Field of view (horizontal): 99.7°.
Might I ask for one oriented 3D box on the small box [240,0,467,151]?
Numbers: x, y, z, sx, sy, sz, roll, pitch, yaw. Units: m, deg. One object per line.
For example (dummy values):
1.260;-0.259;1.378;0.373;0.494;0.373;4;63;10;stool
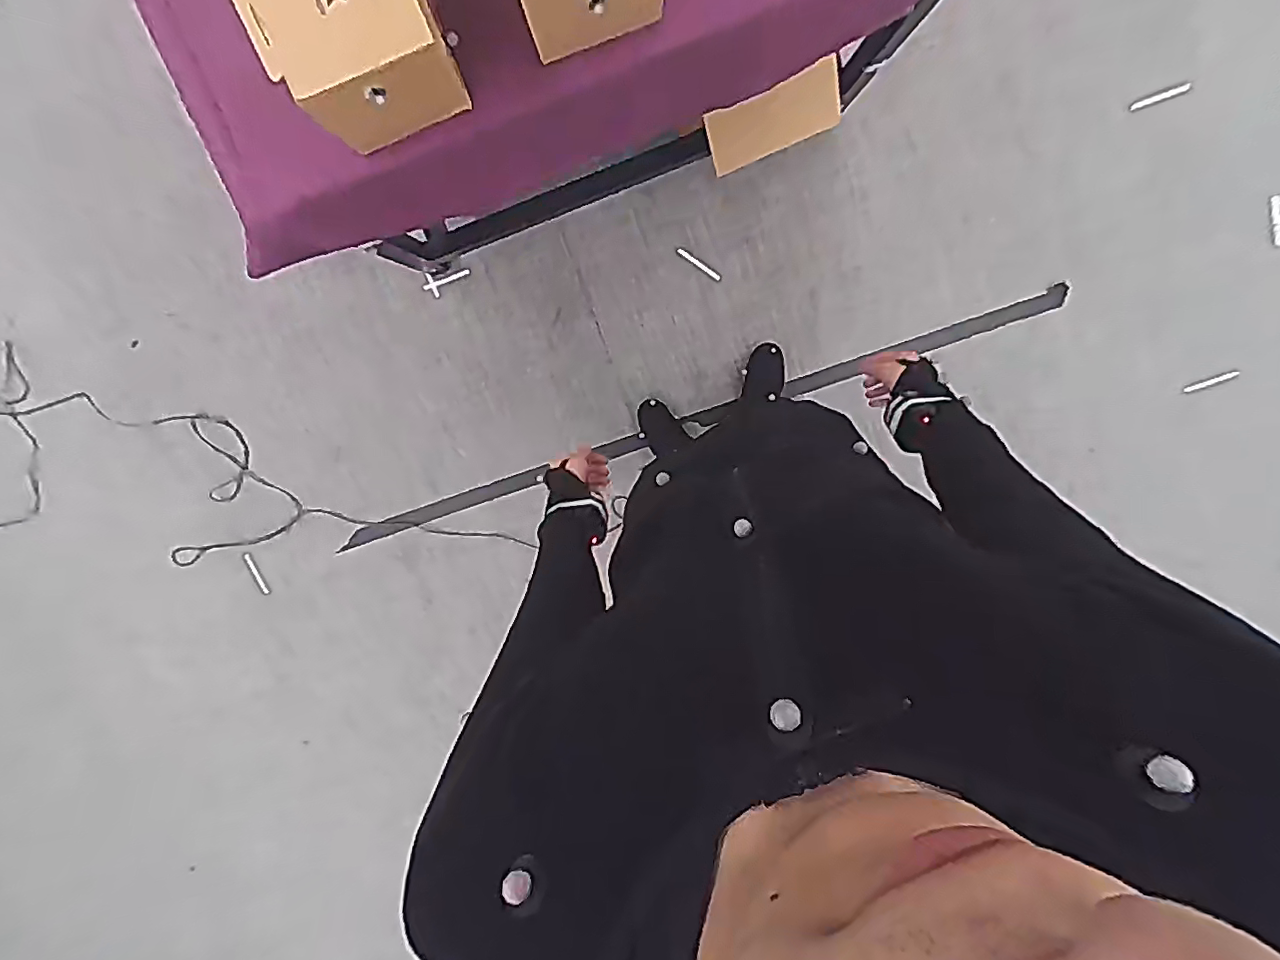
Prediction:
-0.343;-0.542;0.663;0.179;0.176;0.168;-21;103;3;small box
